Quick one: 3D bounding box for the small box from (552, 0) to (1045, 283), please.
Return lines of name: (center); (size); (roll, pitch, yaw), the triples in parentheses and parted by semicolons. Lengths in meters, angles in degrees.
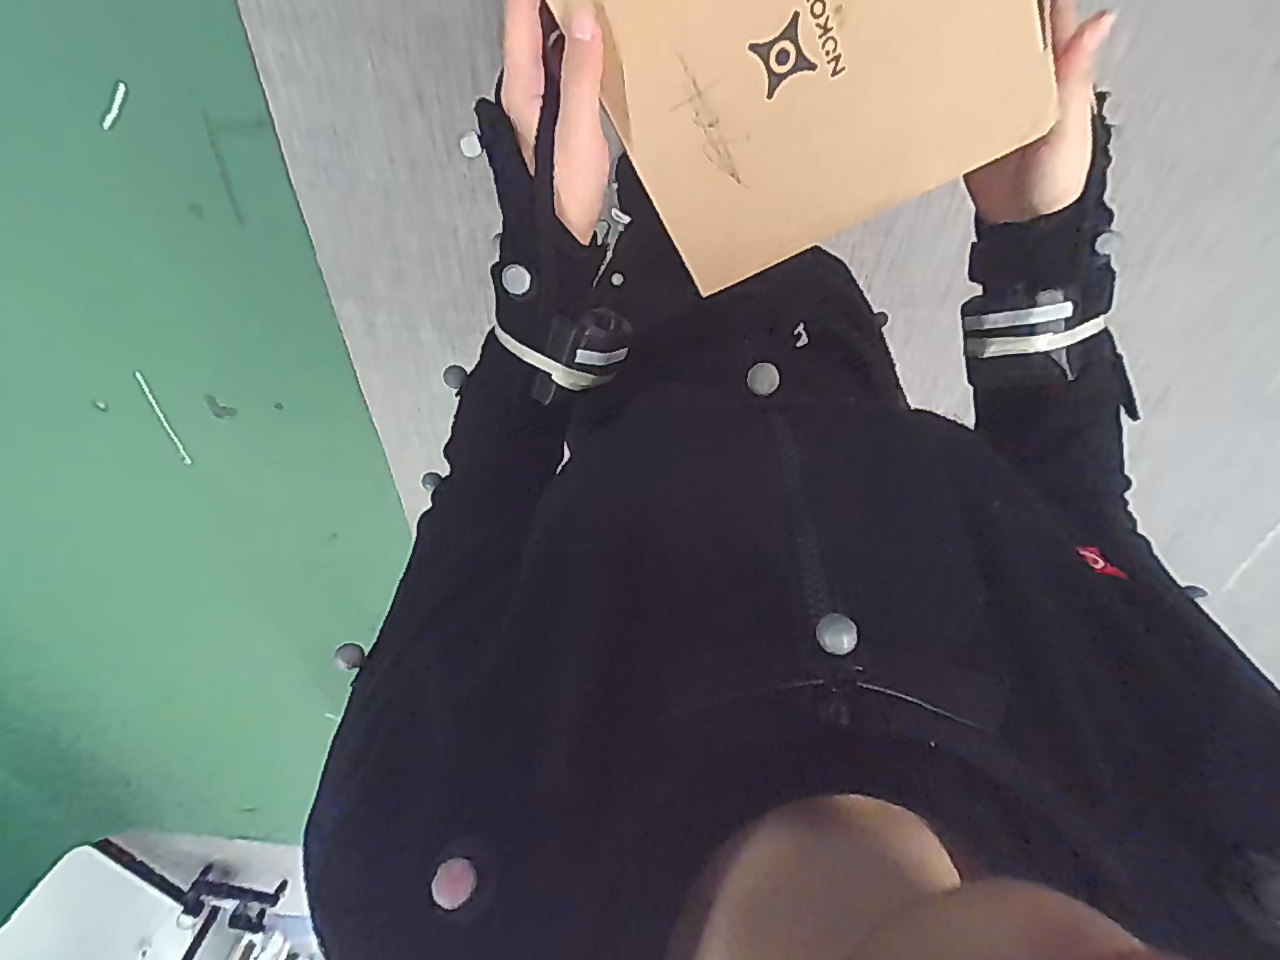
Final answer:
small box: (0.086, -0.247, 0.297); (0.179, 0.176, 0.168); (-16, 123, 33)
